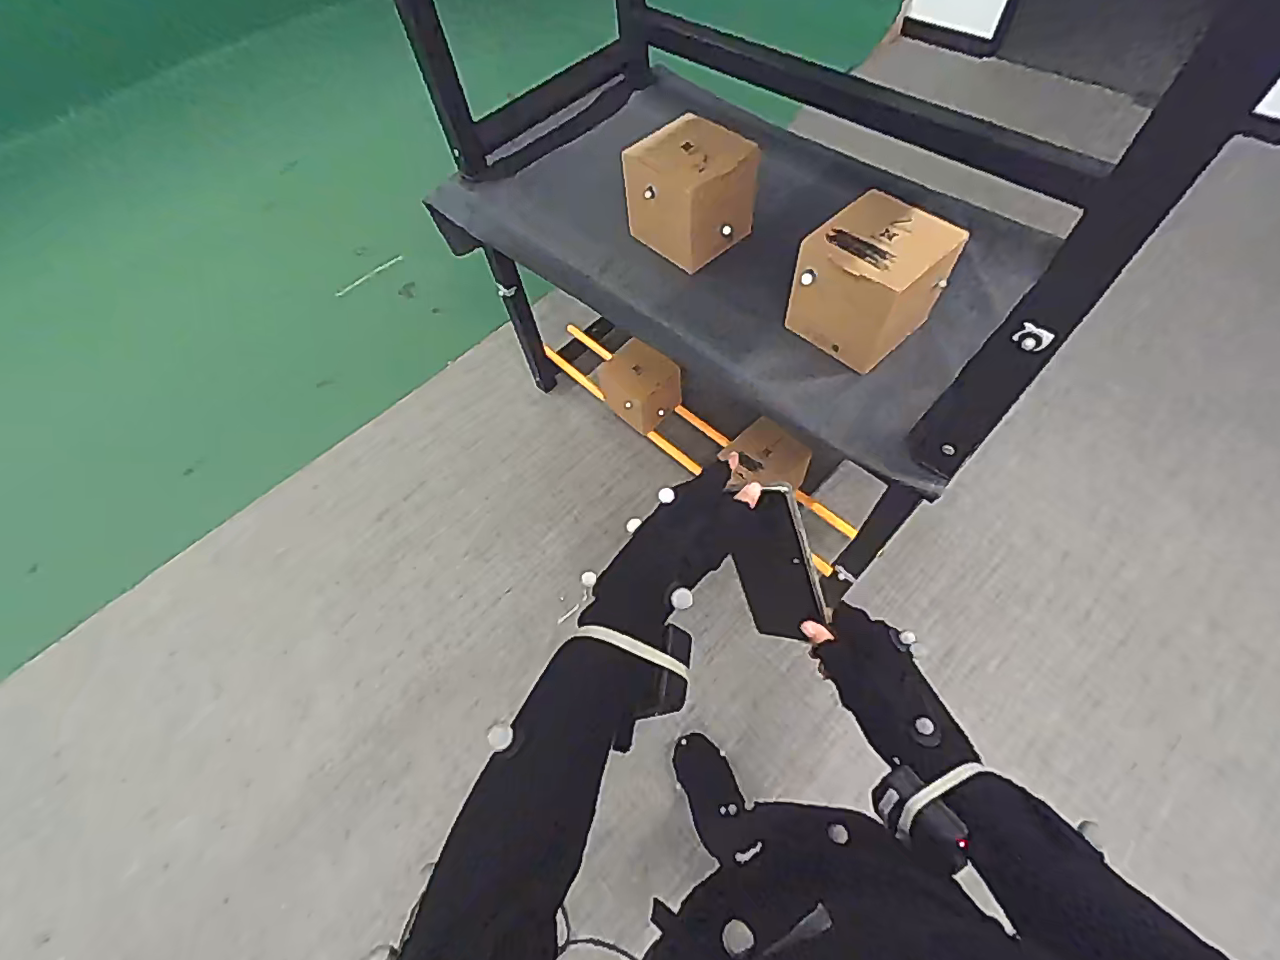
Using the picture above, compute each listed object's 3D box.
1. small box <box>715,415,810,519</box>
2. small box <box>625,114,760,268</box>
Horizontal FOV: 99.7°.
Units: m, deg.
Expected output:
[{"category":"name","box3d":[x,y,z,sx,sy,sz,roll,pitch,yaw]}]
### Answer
[{"category":"small box","box3d":[0.314,-0.027,1.415,0.179,0.176,0.168,-39,65,-15]},{"category":"small box","box3d":[0.094,-0.529,1.001,0.168,0.176,0.179,-40,65,-16]}]
